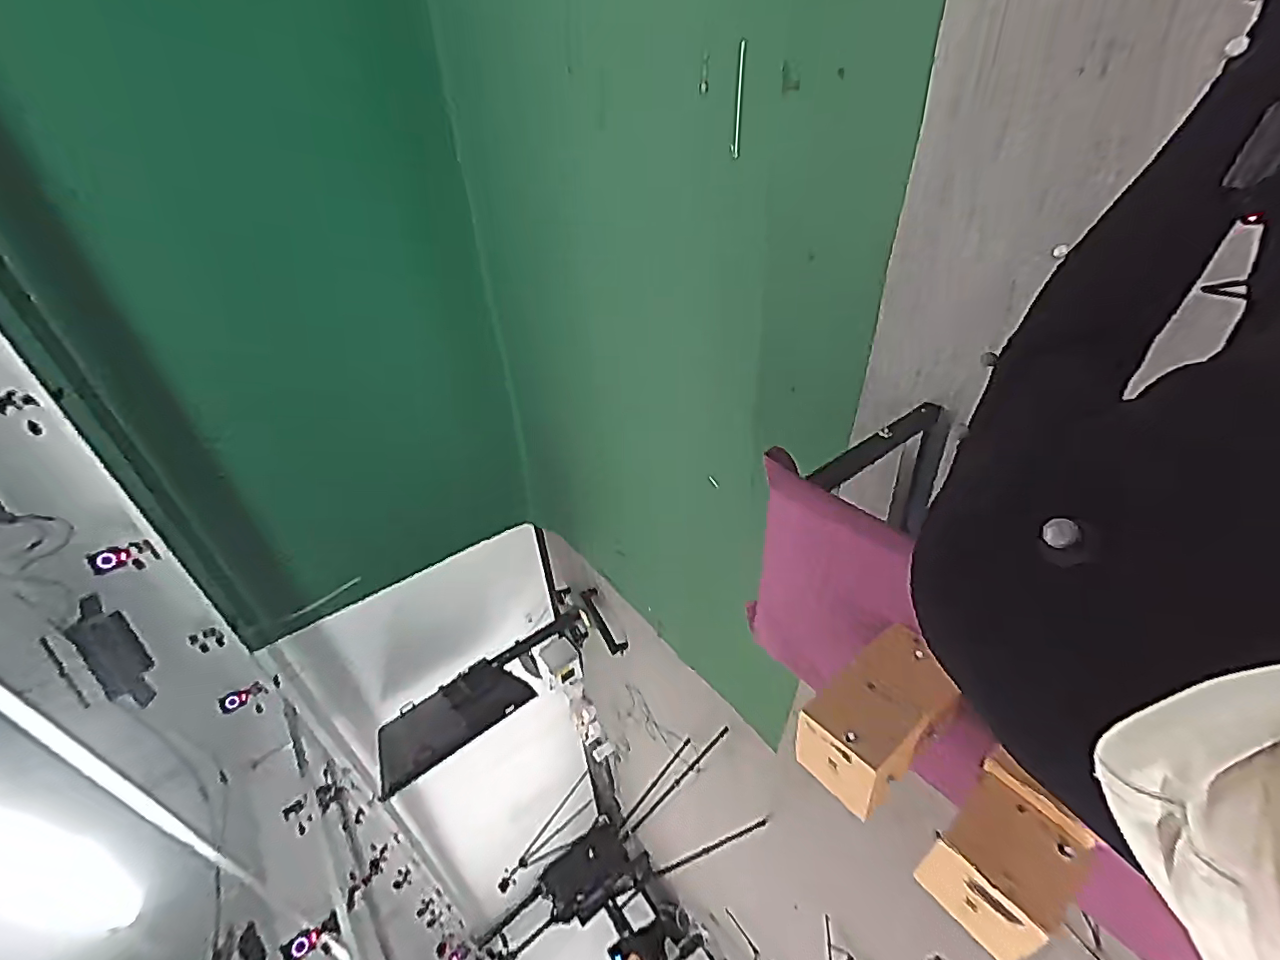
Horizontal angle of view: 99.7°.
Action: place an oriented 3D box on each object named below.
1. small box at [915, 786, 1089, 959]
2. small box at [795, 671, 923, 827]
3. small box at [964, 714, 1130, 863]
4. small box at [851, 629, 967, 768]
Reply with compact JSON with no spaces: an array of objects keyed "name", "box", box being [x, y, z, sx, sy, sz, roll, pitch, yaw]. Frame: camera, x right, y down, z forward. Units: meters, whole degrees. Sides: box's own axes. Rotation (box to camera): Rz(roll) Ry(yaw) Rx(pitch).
[{"name":"small box","box":[0.599,0.656,0.899,0.168,0.176,0.179,36,141,40]},{"name":"small box","box":[0.428,0.520,1.062,0.168,0.176,0.179,30,138,44]},{"name":"small box","box":[0.722,0.564,0.965,0.168,0.176,0.179,33,138,43]},{"name":"small box","box":[0.556,0.455,1.140,0.168,0.176,0.179,31,138,43]}]
